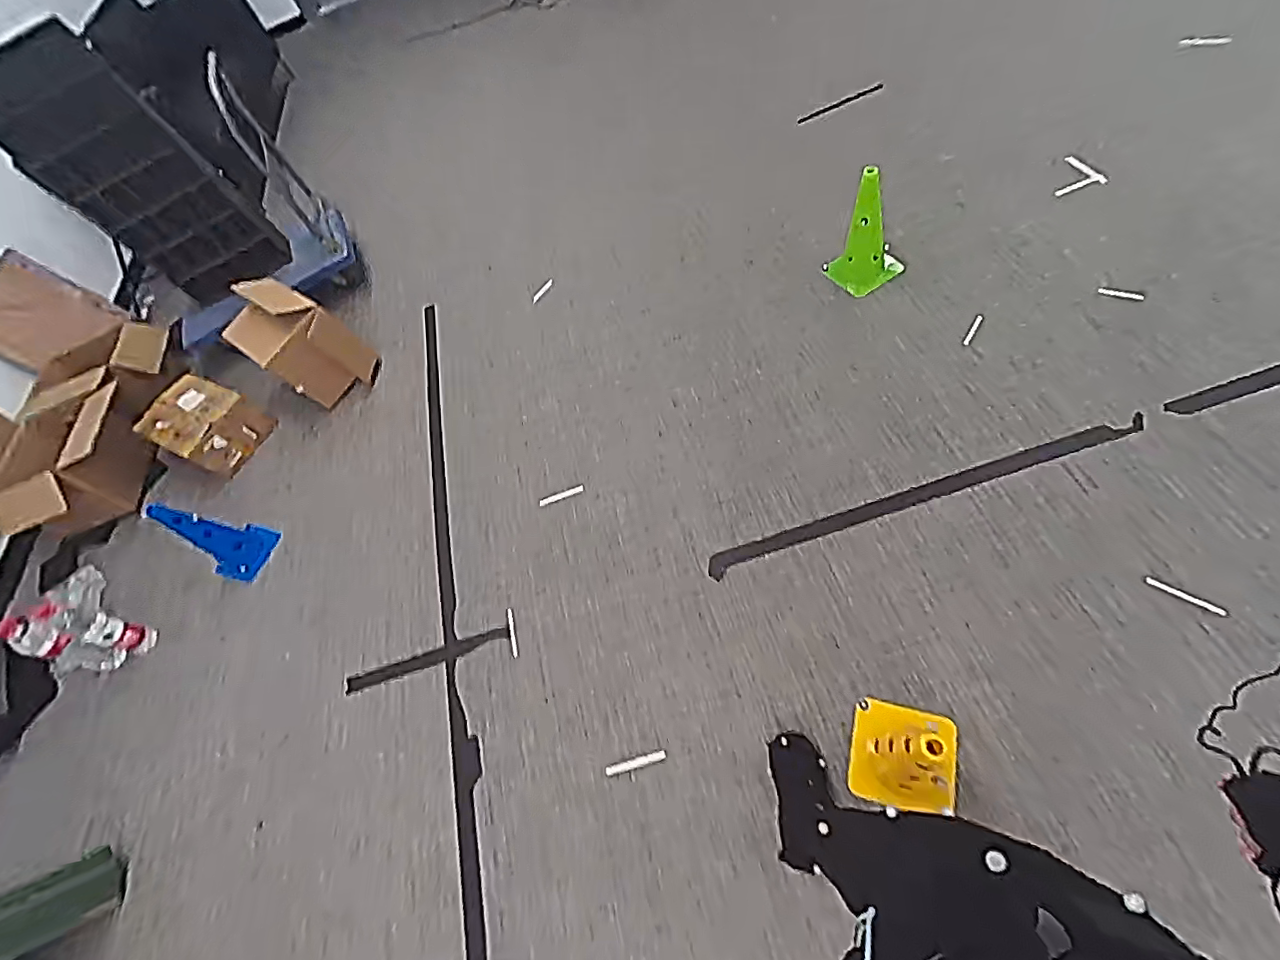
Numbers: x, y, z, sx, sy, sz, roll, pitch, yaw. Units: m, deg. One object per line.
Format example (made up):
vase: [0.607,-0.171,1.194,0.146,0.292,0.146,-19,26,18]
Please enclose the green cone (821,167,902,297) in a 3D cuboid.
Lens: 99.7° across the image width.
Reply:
green cone: [0.715,-0.802,1.714,0.202,0.368,0.200,-33,57,-4]
